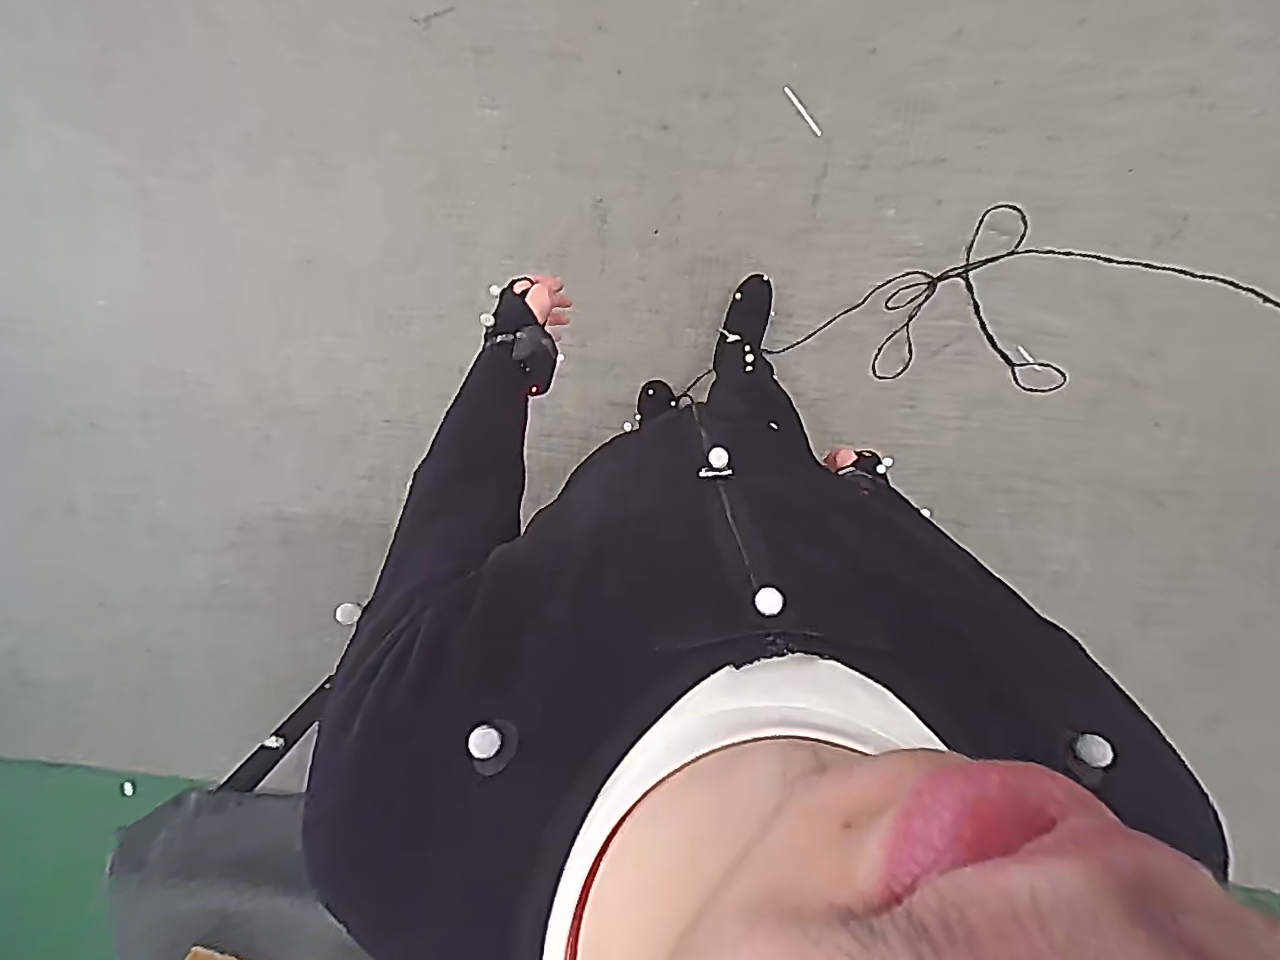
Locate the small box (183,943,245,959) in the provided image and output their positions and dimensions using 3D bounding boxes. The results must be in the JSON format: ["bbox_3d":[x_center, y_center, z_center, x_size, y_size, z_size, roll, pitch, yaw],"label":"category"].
[{"bbox_3d":[-0.858,1.052,1.038,0.168,0.176,0.179,23,104,-1],"label":"small box"}]
